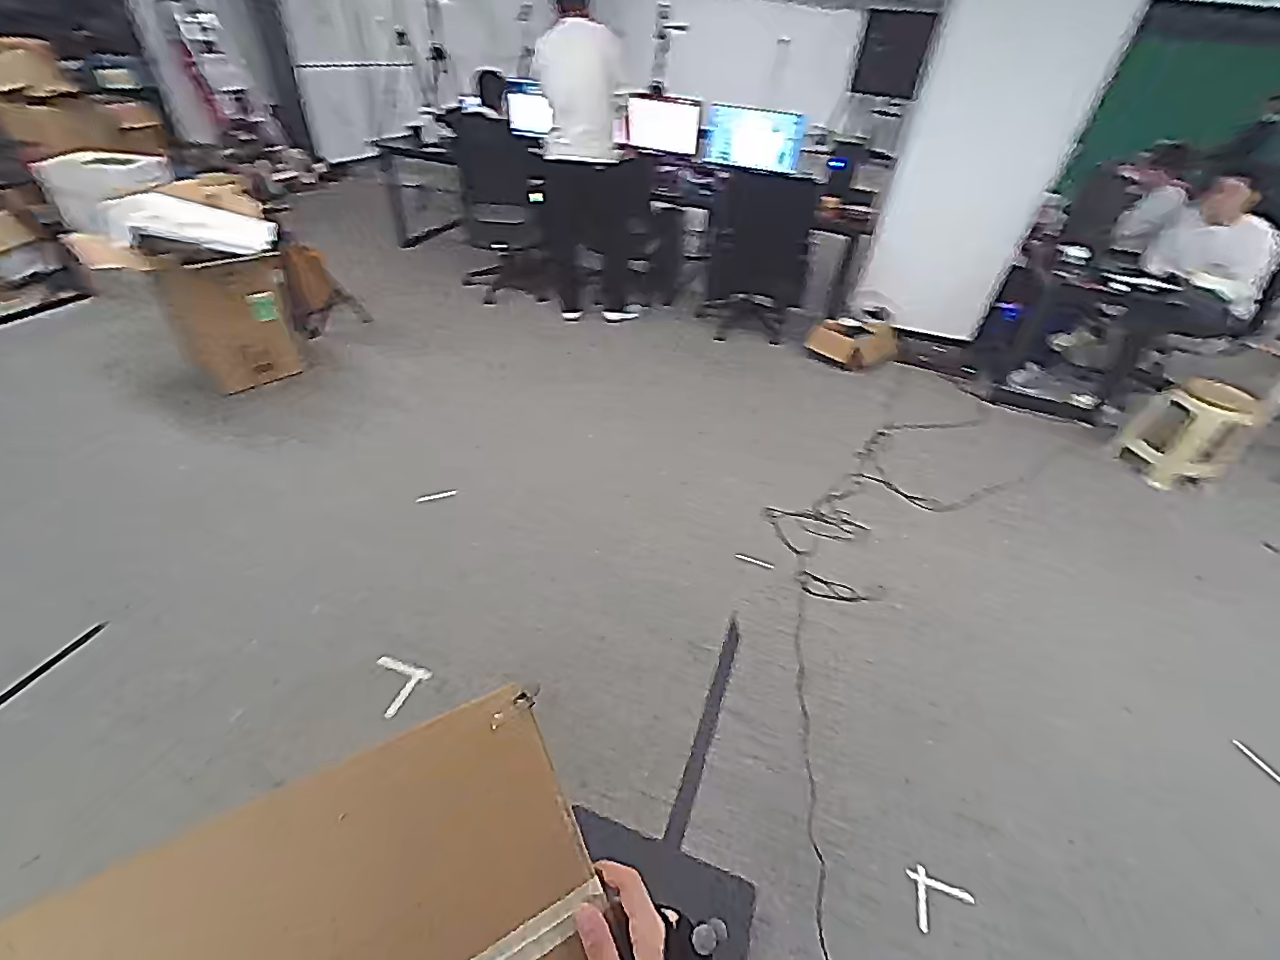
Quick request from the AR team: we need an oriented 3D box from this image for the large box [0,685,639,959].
[{"bbox_3d":[-0.231,0.423,0.440,0.408,0.320,0.320,-17,68,-24],"label":"large box"}]
